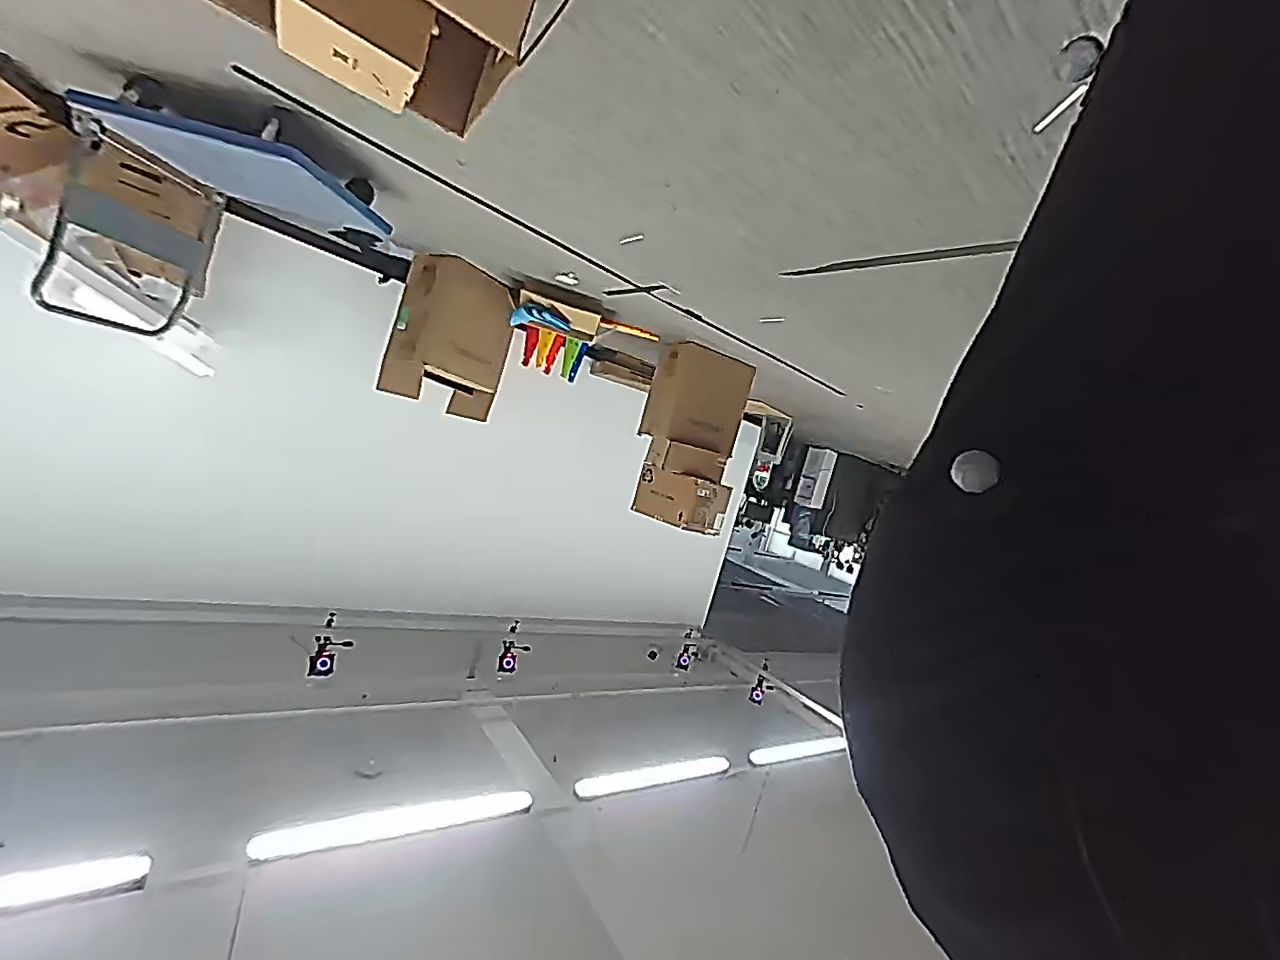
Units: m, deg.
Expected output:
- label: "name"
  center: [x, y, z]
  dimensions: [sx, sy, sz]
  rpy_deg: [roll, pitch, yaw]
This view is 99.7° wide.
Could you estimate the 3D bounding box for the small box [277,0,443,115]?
- label: "small box"
  center: [-0.394, -0.679, 0.769]
  dimensions: [0.179, 0.176, 0.168]
  rpy_deg: [14, -176, -35]
